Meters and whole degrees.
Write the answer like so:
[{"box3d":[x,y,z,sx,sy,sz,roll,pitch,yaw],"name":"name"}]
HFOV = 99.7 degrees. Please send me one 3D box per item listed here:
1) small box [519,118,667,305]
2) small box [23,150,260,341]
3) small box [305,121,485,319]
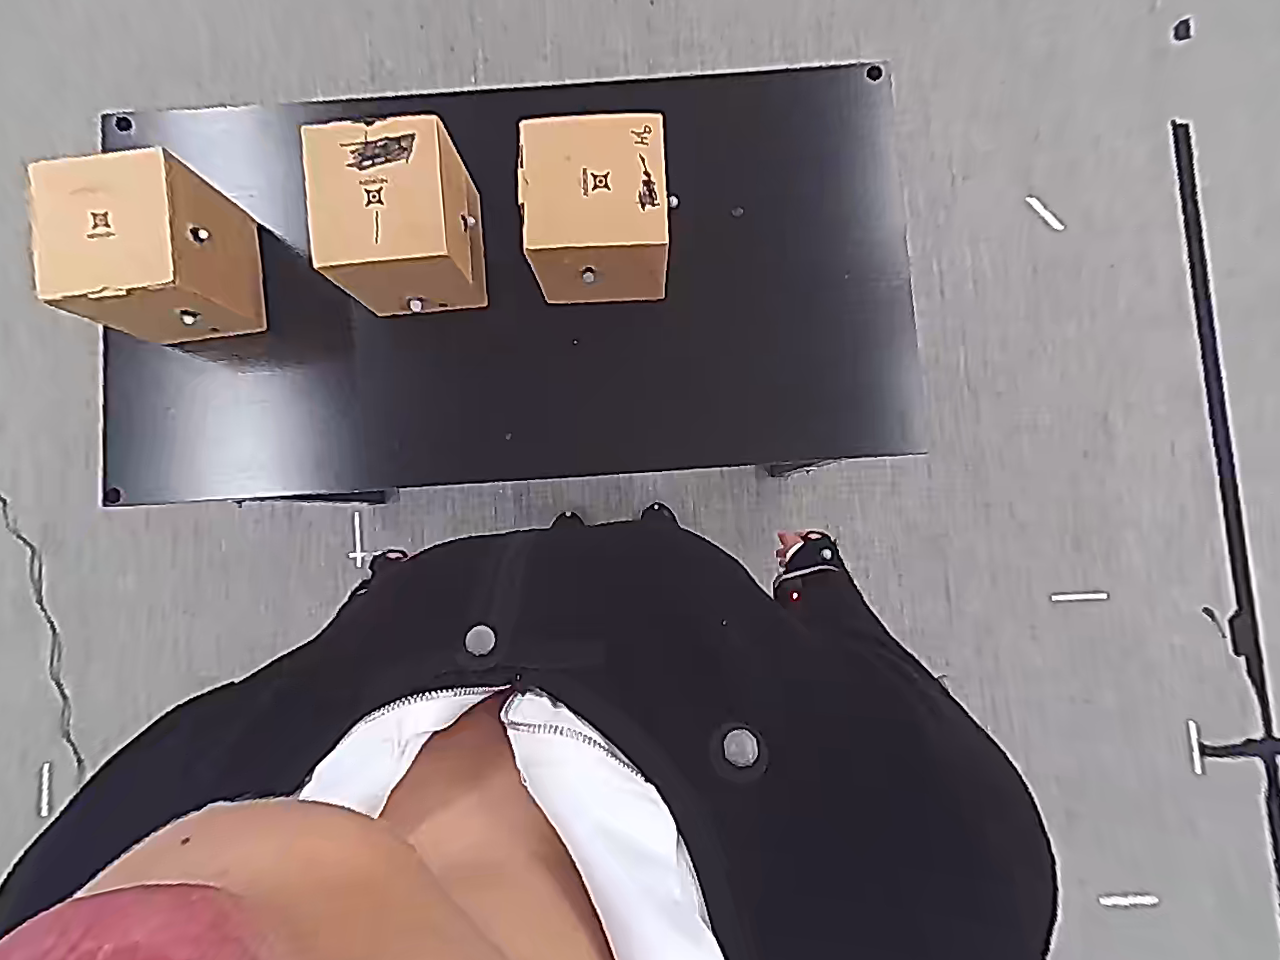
[{"box3d":[-0.054,-0.344,0.723,0.179,0.176,0.168,-2,86,1],"name":"small box"},{"box3d":[-0.644,-0.295,0.720,0.168,0.176,0.179,-8,85,-2],"name":"small box"},{"box3d":[-0.314,-0.334,0.722,0.168,0.176,0.179,-5,87,0],"name":"small box"}]
